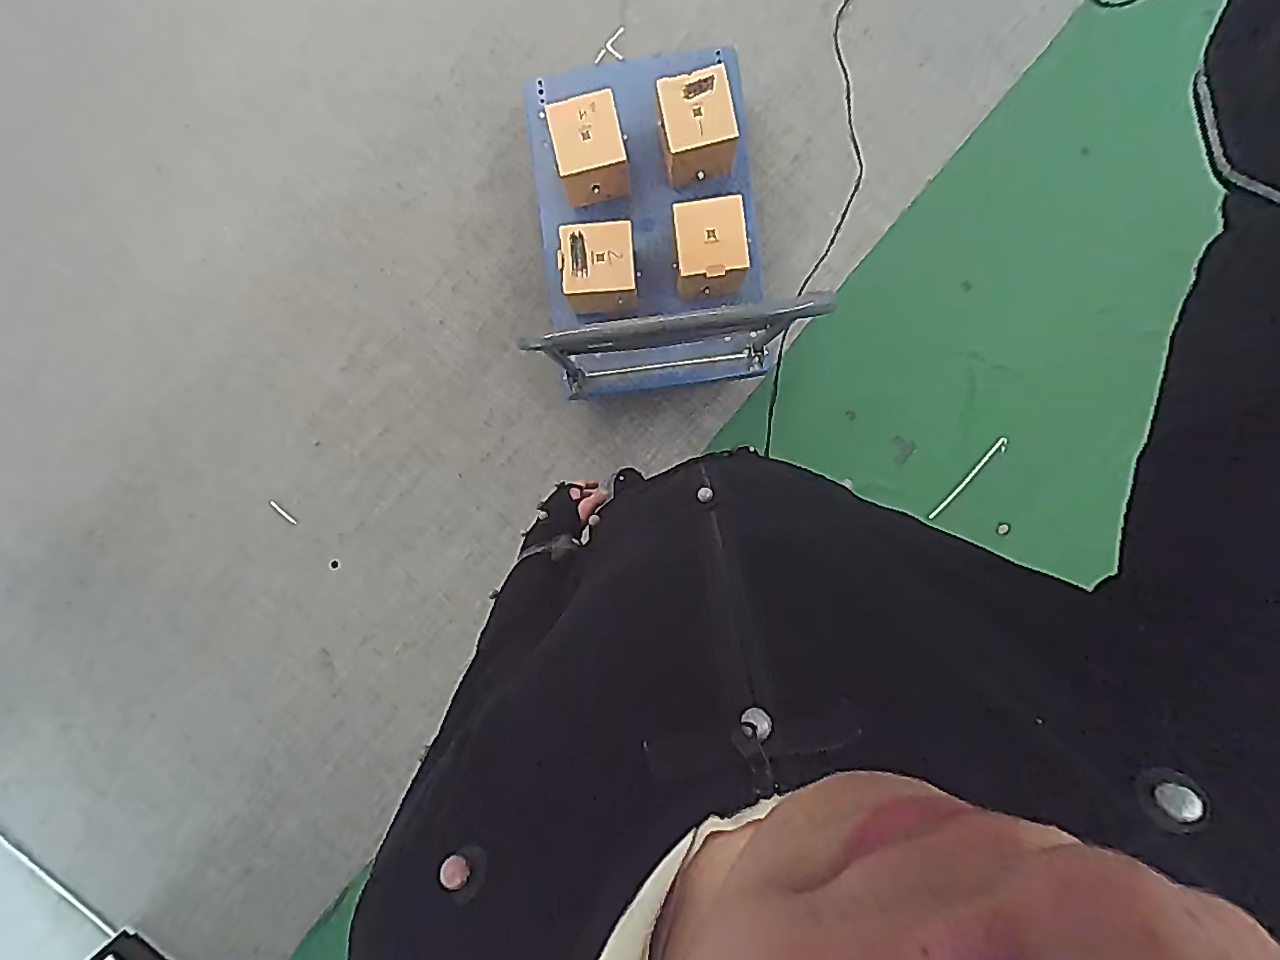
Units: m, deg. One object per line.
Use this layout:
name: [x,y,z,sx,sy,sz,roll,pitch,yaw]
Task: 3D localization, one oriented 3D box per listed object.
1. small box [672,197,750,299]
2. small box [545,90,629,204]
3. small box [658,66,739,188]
small box: [0.171,-0.573,1.353,0.168,0.176,0.179,-7,92,2]
small box: [-0.125,-0.821,1.356,0.168,0.176,0.179,-12,91,2]
small box: [0.140,-0.867,1.343,0.168,0.176,0.179,-12,92,3]
